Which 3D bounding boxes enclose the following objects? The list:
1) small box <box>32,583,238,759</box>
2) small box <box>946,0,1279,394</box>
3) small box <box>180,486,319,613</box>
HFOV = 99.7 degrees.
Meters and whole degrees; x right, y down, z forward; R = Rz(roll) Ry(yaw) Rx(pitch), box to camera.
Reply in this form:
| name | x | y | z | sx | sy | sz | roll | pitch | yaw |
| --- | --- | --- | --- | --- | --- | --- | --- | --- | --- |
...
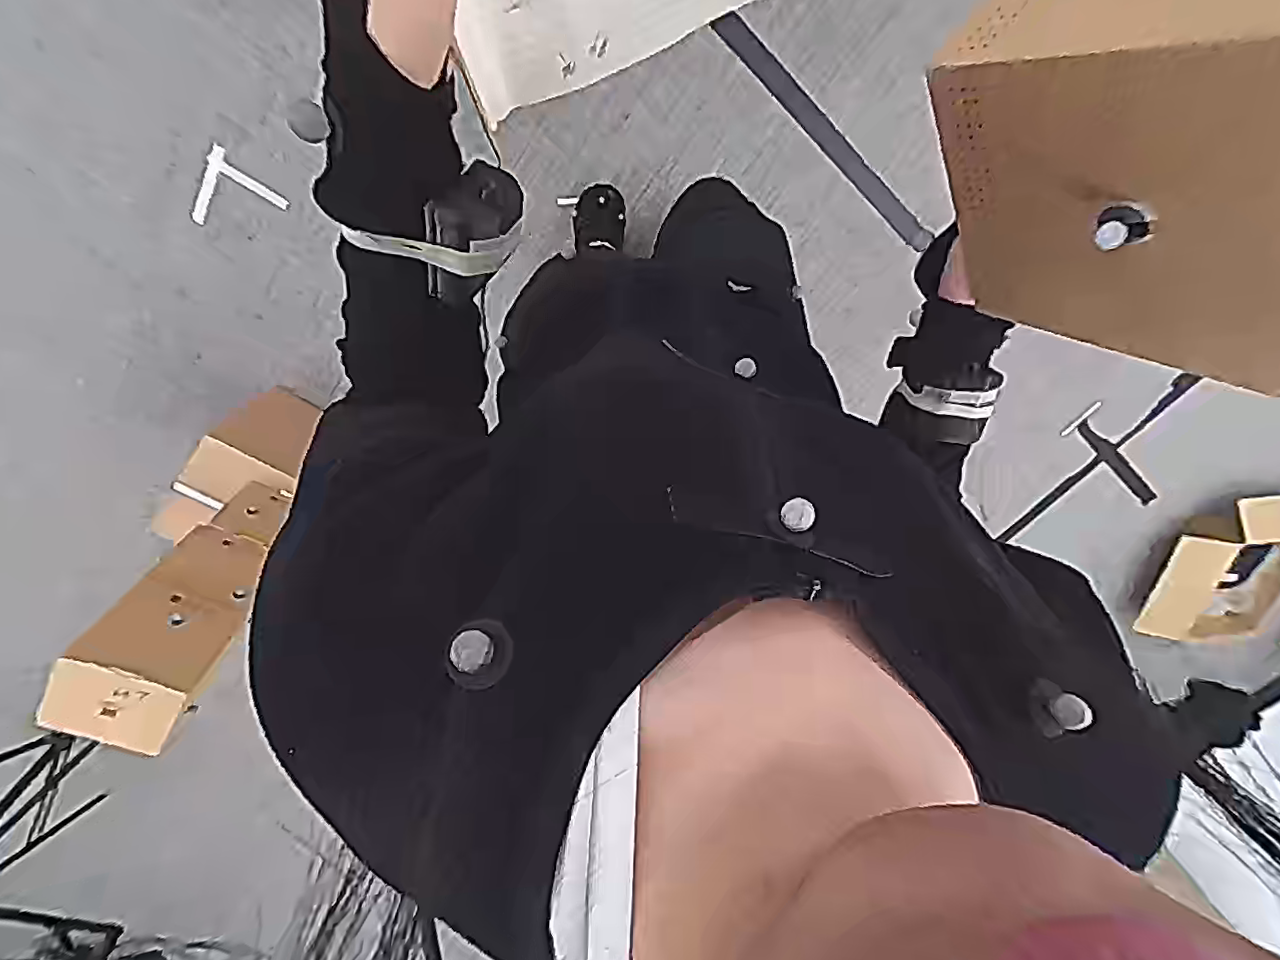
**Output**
| name | x | y | z | sx | sy | sz | roll | pitch | yaw |
| --- | --- | --- | --- | --- | --- | --- | --- | --- | --- |
| small box | -0.794 | 0.303 | 0.868 | 0.168 | 0.176 | 0.179 | 31 | 112 | -22 |
| small box | 0.285 | -0.178 | 0.257 | 0.168 | 0.176 | 0.179 | -45 | 131 | 2 |
| small box | -0.820 | 0.142 | 1.155 | 0.168 | 0.176 | 0.179 | 29 | 113 | -20 |
